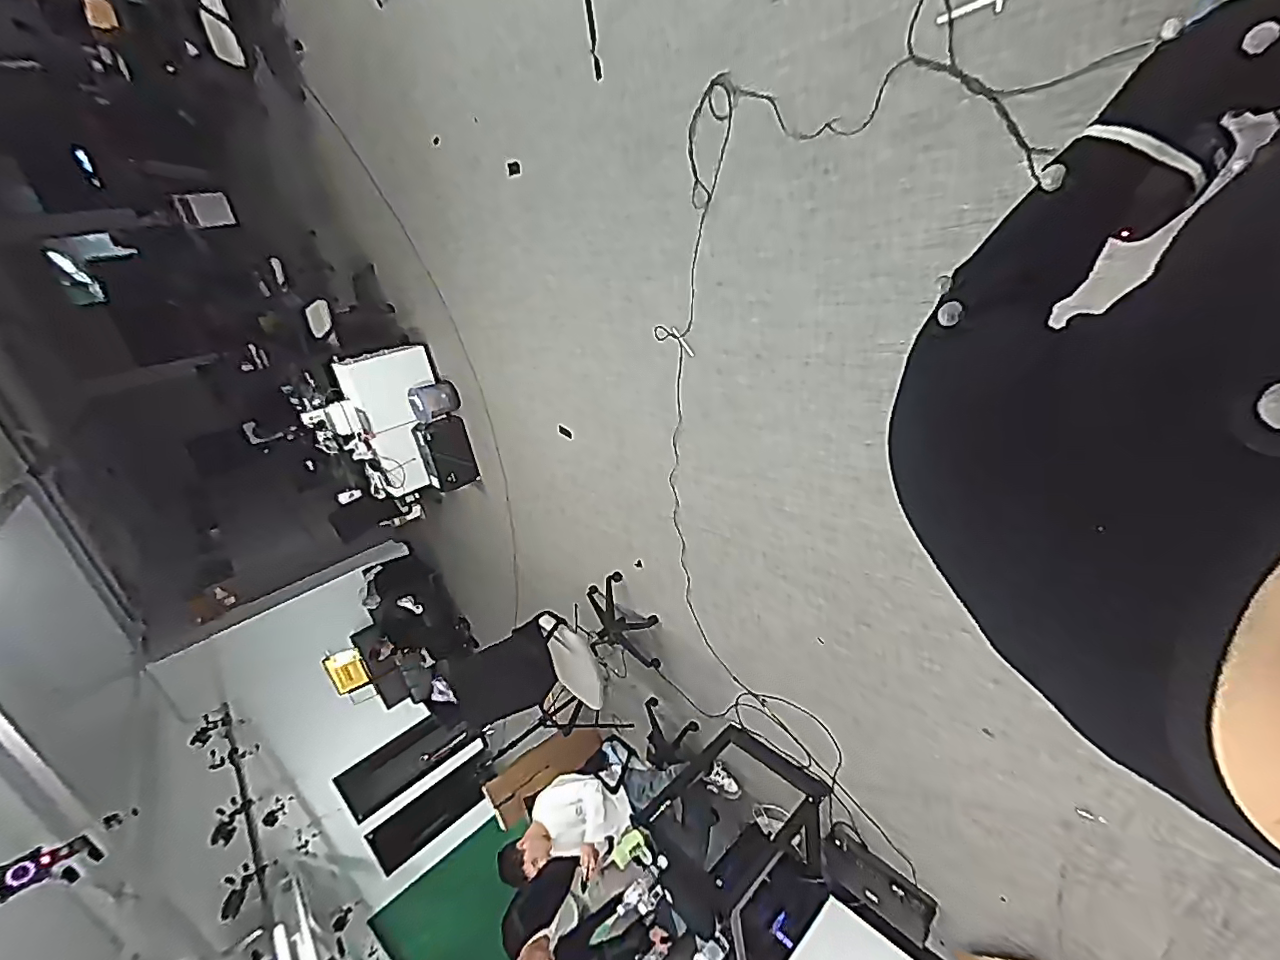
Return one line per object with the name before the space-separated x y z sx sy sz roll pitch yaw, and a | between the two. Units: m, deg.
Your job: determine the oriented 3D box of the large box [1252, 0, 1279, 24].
large box | 0.874 -0.684 0.476 0.408 0.320 0.320 16 125 45
